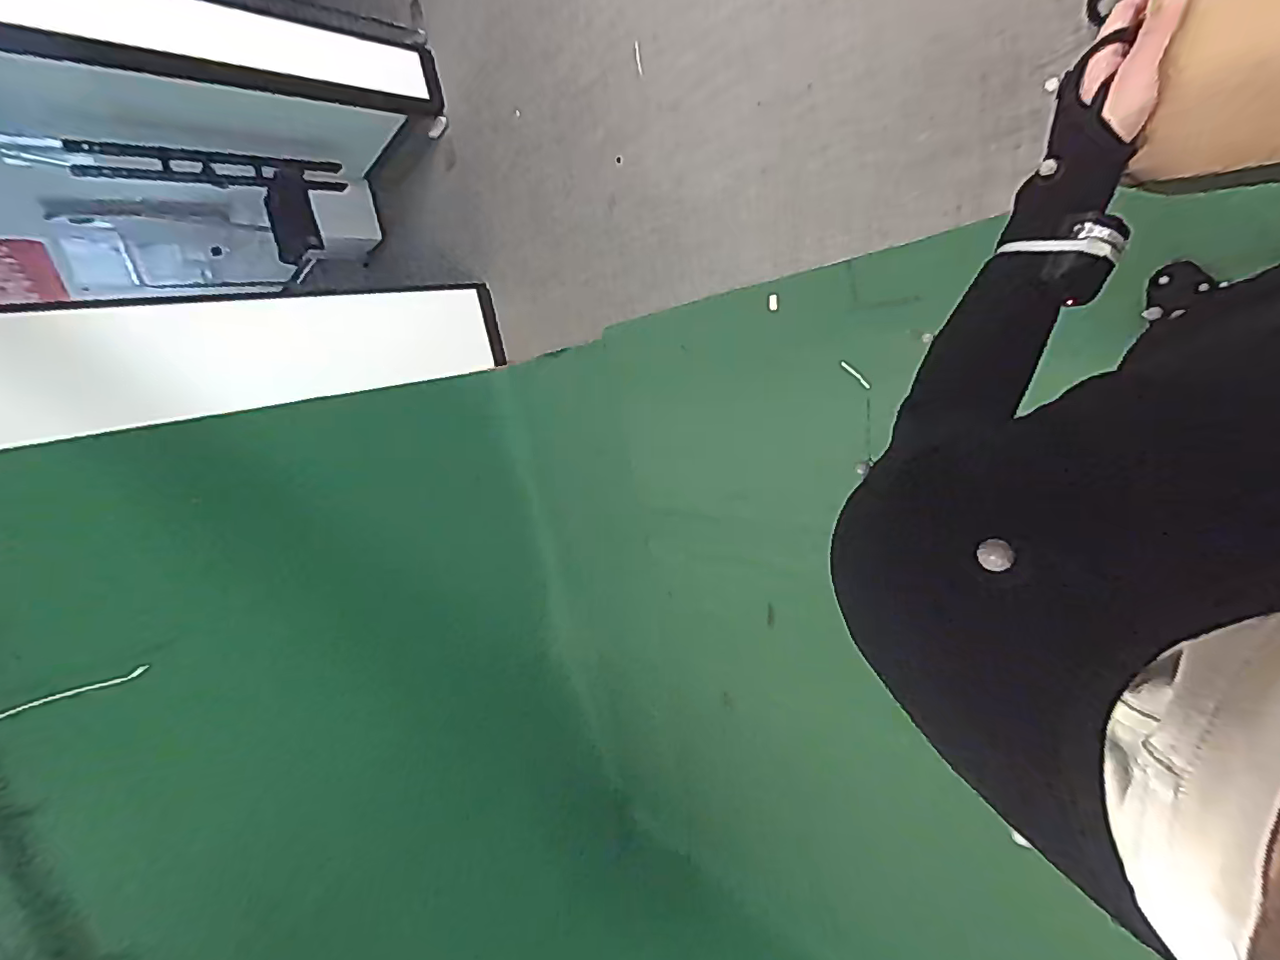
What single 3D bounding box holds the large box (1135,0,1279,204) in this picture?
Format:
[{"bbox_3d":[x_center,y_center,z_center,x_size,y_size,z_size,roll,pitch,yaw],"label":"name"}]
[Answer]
[{"bbox_3d":[0.661,-0.411,0.387,0.408,0.320,0.320,13,117,44],"label":"large box"}]
